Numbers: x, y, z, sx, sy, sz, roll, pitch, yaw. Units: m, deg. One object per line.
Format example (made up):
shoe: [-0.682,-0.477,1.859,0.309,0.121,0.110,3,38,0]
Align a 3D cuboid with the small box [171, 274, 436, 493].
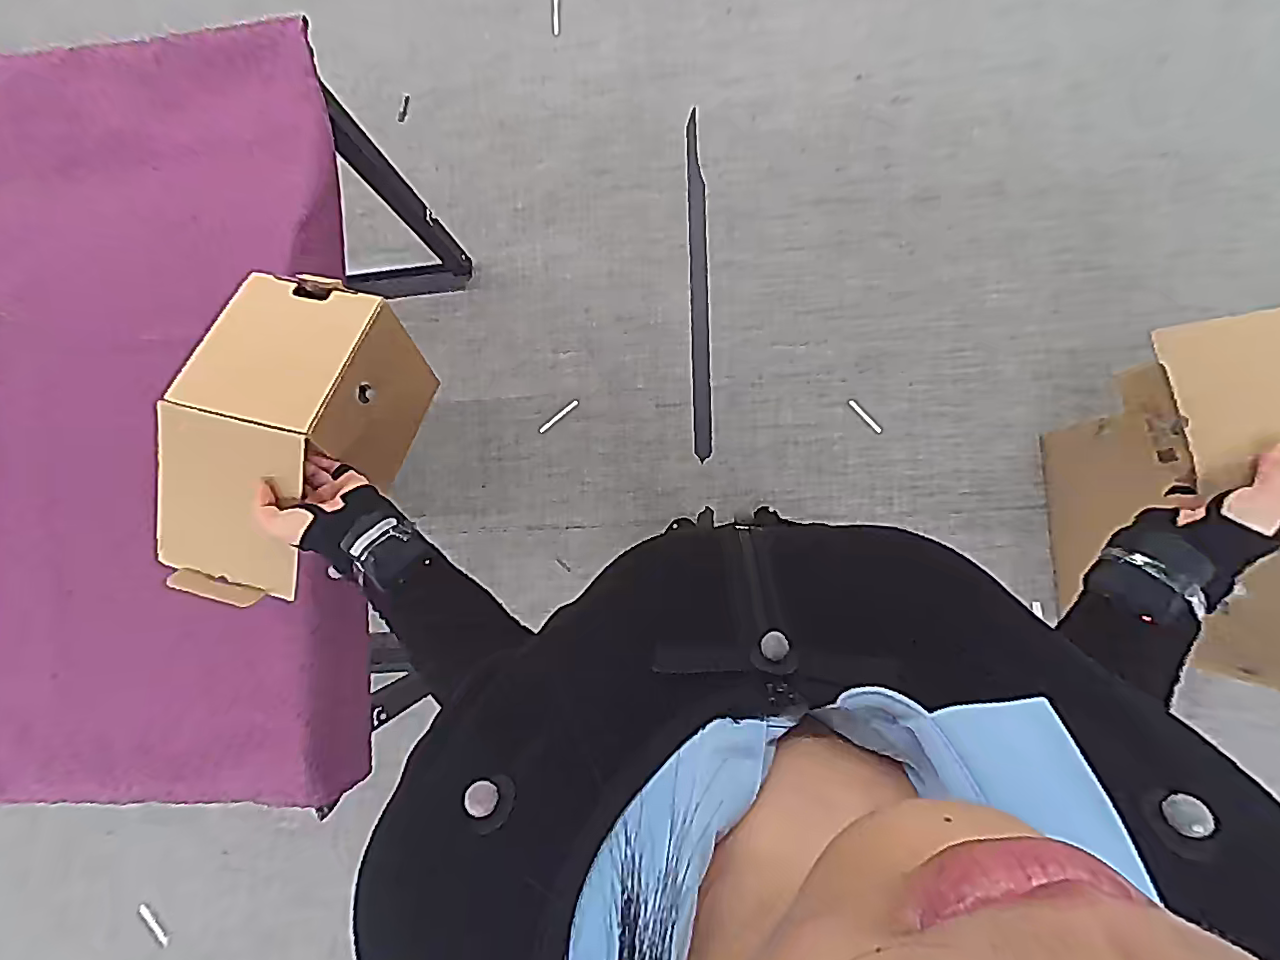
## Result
small box: [-0.368,-0.104,0.634,0.168,0.176,0.179,13,67,8]
